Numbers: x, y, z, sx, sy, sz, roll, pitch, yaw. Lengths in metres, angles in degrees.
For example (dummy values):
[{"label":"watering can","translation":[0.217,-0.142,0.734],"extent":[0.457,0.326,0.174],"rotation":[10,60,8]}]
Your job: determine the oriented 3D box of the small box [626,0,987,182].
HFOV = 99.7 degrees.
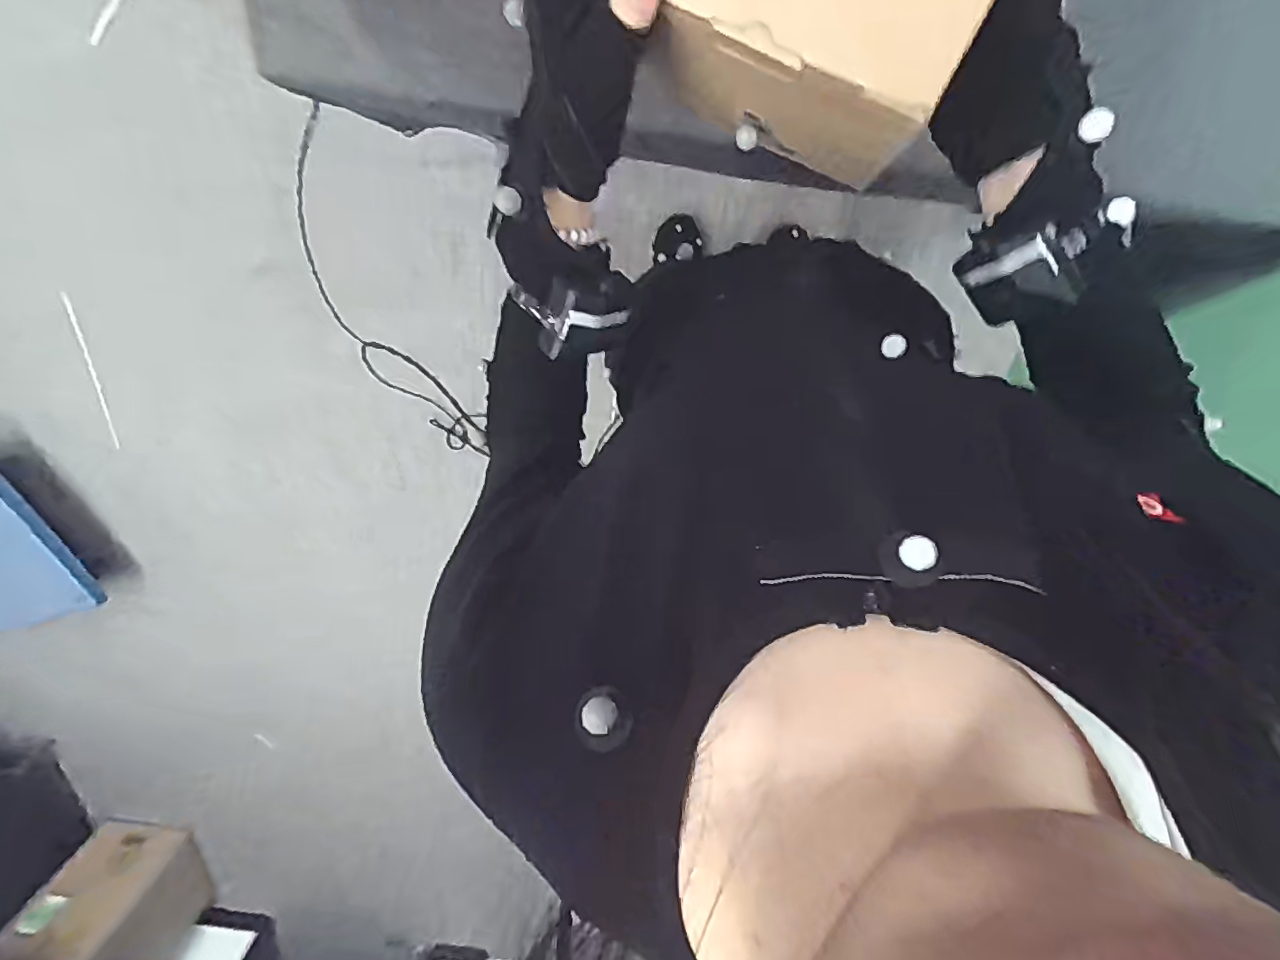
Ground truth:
[{"label":"small box","translation":[0.098,-0.286,0.276],"extent":[0.168,0.176,0.179],"rotation":[27,113,3]}]
